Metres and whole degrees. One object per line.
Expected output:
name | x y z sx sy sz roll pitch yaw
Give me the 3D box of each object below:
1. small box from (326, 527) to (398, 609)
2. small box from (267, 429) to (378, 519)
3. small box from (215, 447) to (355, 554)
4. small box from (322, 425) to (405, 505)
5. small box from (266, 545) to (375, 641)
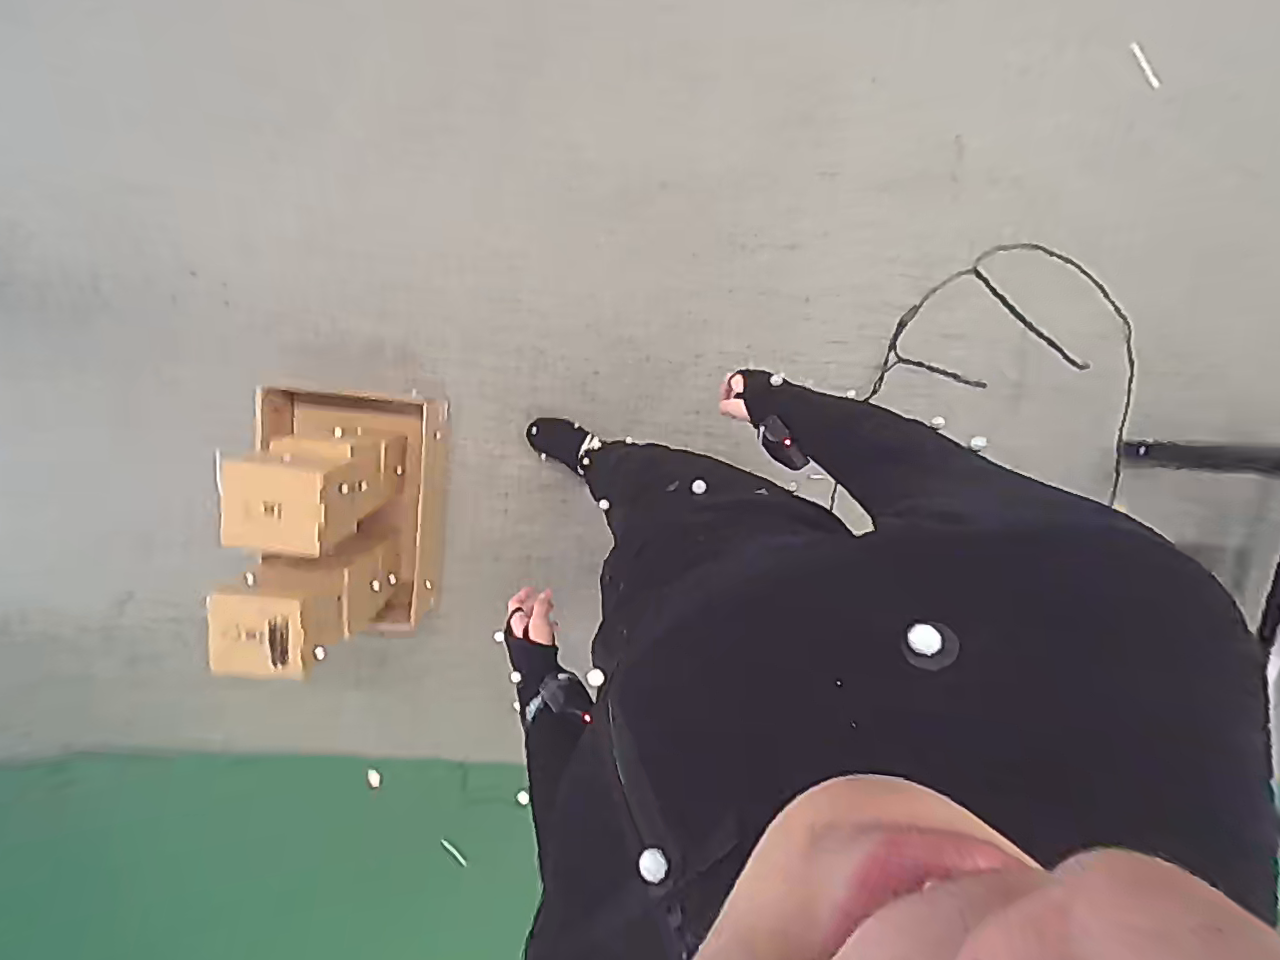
small box | -0.756 0.228 1.427 0.179 0.176 0.168 5 99 -6
small box | -0.706 -0.014 1.219 0.168 0.176 0.179 4 100 -6
small box | -0.686 0.033 1.063 0.179 0.176 0.168 9 99 -6
small box | -0.719 -0.045 1.380 0.179 0.176 0.168 8 100 -6
small box | -0.739 0.256 1.264 0.168 0.176 0.179 5 98 -4
